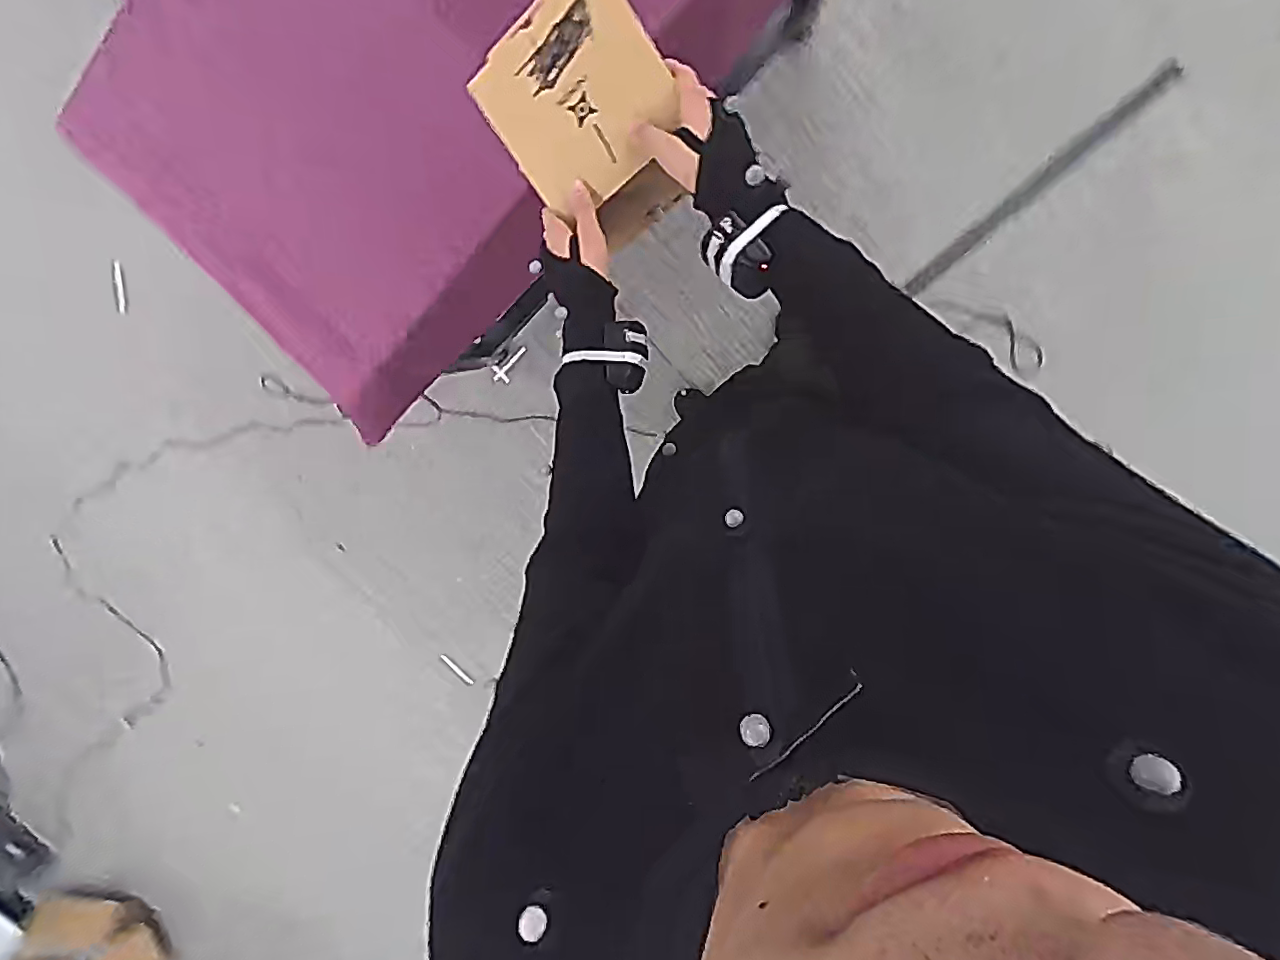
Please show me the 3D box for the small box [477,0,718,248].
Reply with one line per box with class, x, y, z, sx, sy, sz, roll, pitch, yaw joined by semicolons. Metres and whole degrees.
small box;-0.034;-0.384;0.593;0.168;0.176;0.179;-32;95;21
